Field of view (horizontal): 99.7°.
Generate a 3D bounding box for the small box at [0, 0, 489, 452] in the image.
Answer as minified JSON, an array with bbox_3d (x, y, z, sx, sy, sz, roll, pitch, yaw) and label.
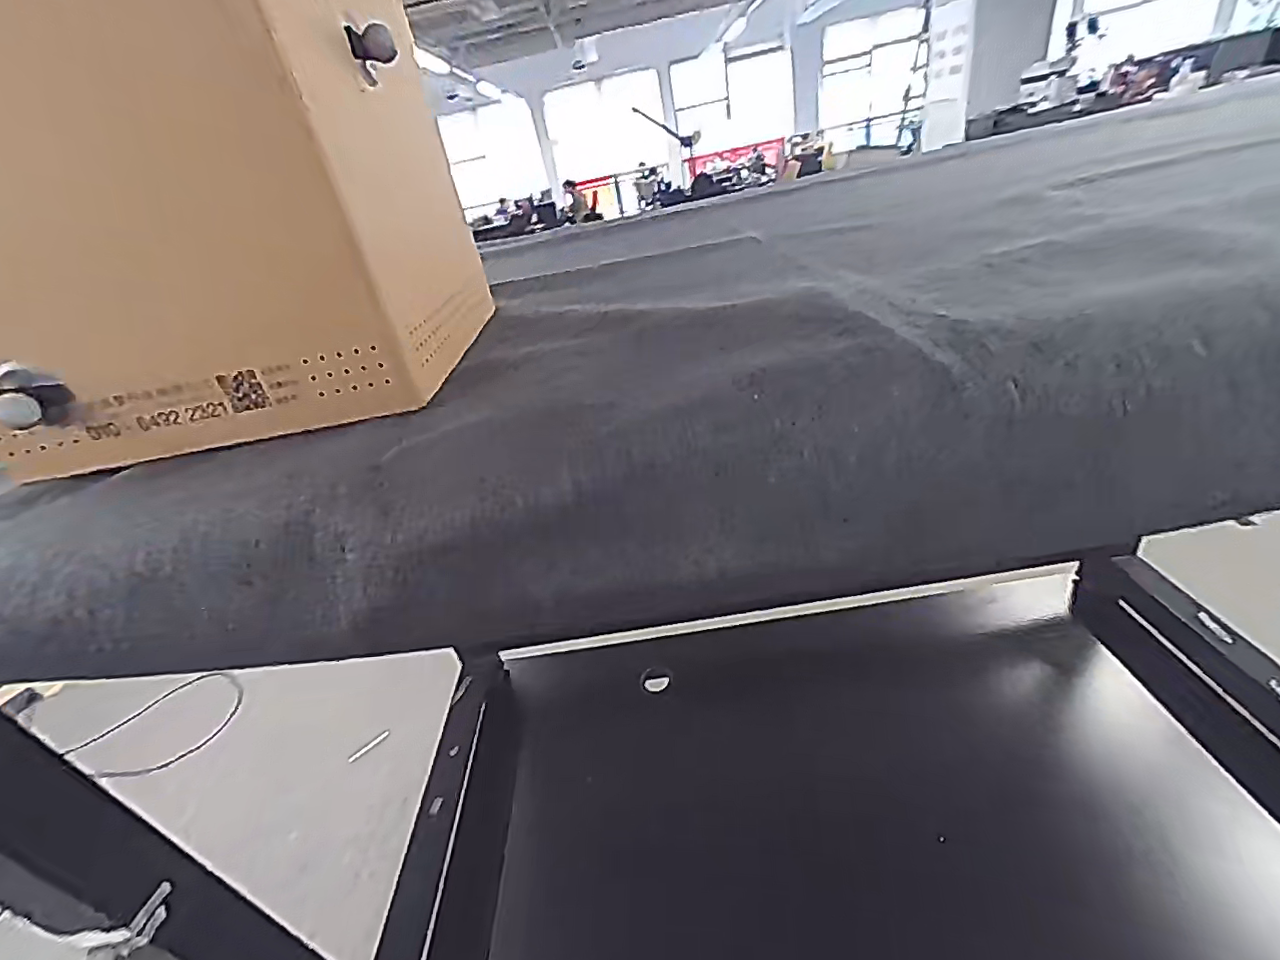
[{"bbox_3d":[-0.181,-0.122,0.244,0.168,0.176,0.179,-10,29,1],"label":"small box"}]
